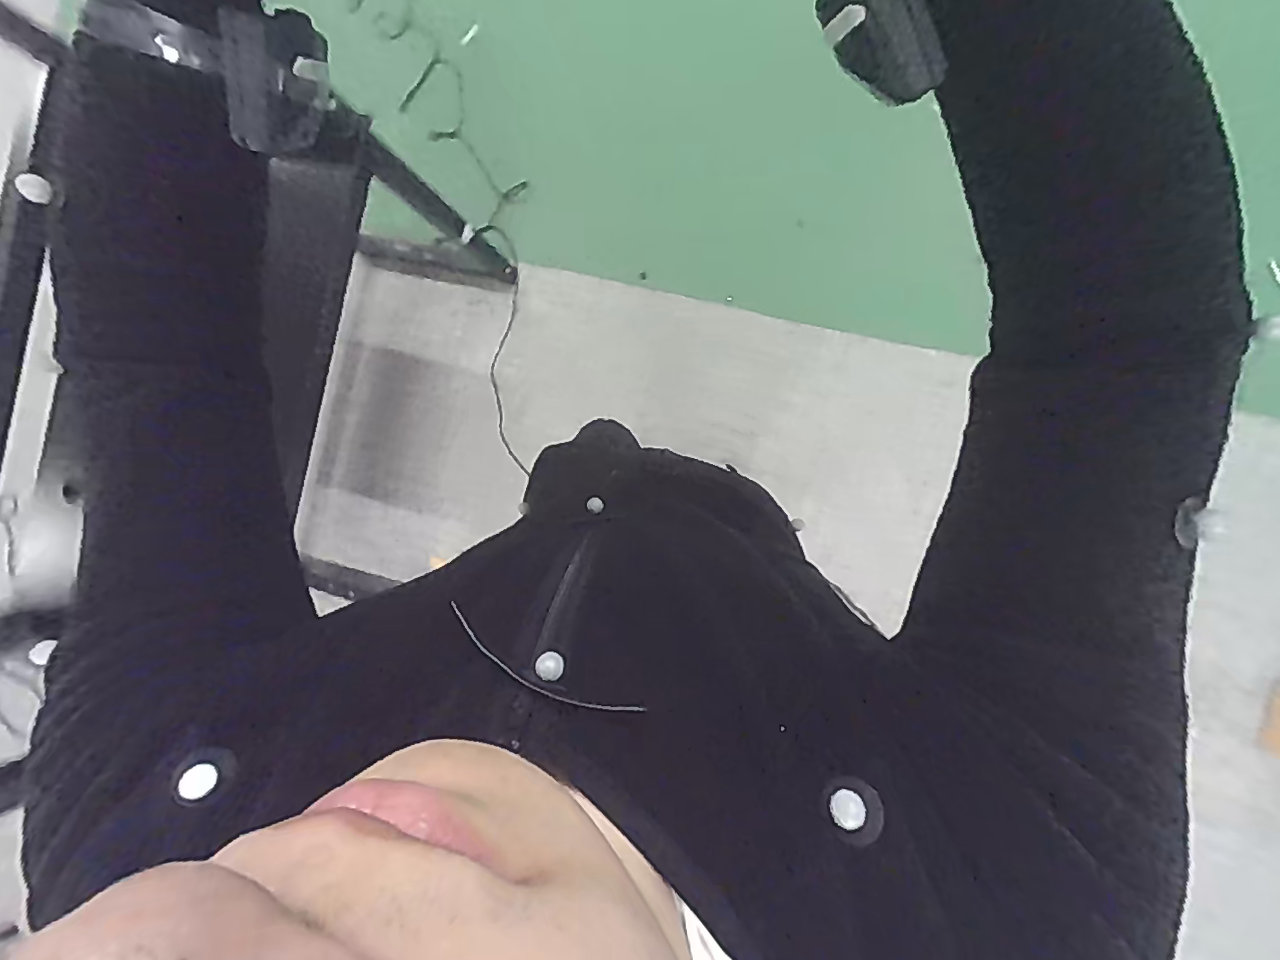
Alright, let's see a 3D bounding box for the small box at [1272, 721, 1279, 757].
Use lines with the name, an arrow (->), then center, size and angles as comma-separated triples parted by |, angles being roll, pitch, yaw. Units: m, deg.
small box -> 1.638, 0.611, 1.242 | 0.168, 0.176, 0.179 | 14, 91, 11
